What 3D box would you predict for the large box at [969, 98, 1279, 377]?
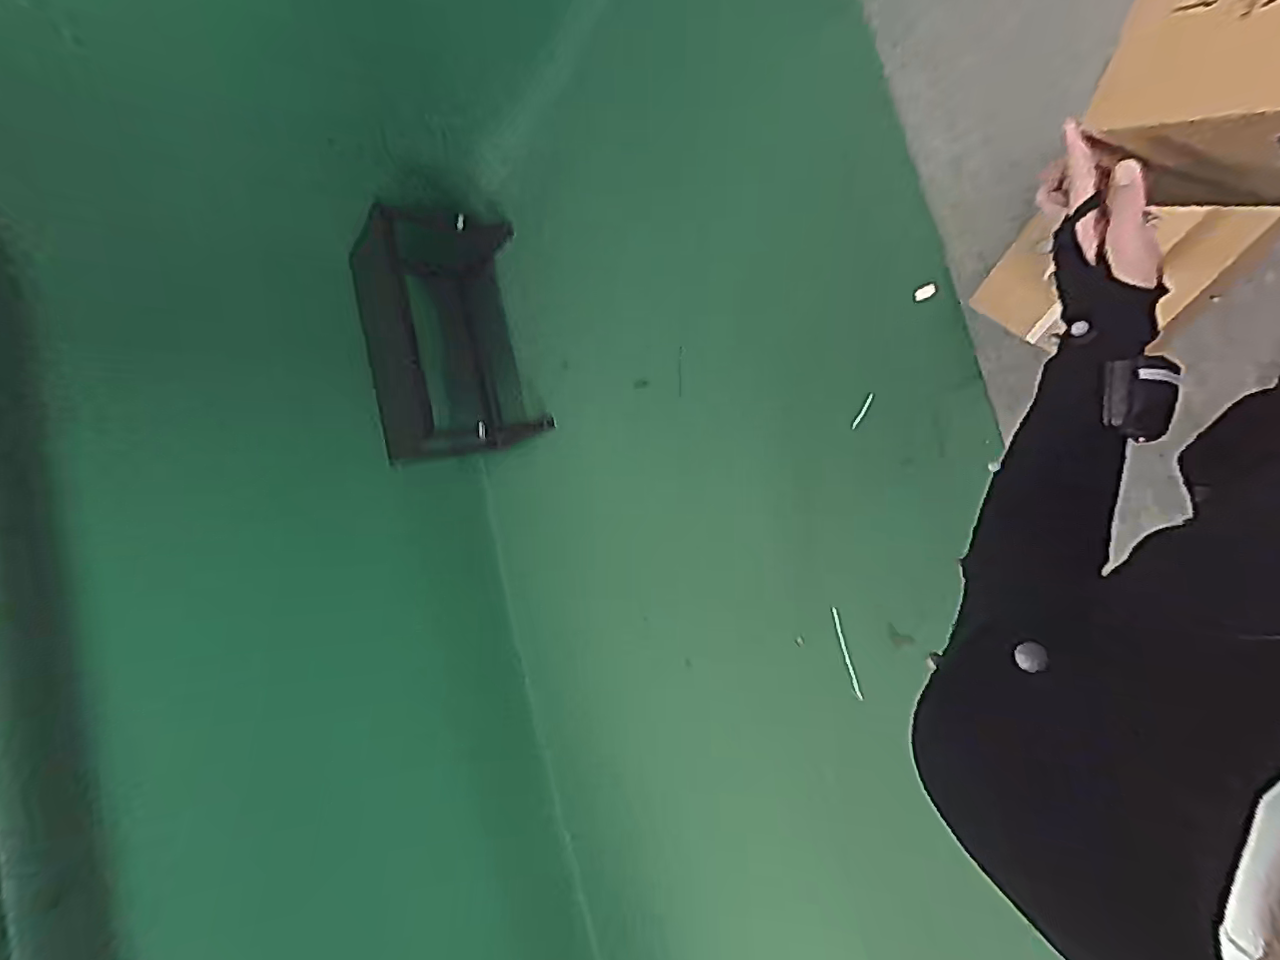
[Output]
[{"bbox_3d":[0.988,-0.468,1.101,0.320,0.320,0.408,50,133,30],"label":"large box"}]
